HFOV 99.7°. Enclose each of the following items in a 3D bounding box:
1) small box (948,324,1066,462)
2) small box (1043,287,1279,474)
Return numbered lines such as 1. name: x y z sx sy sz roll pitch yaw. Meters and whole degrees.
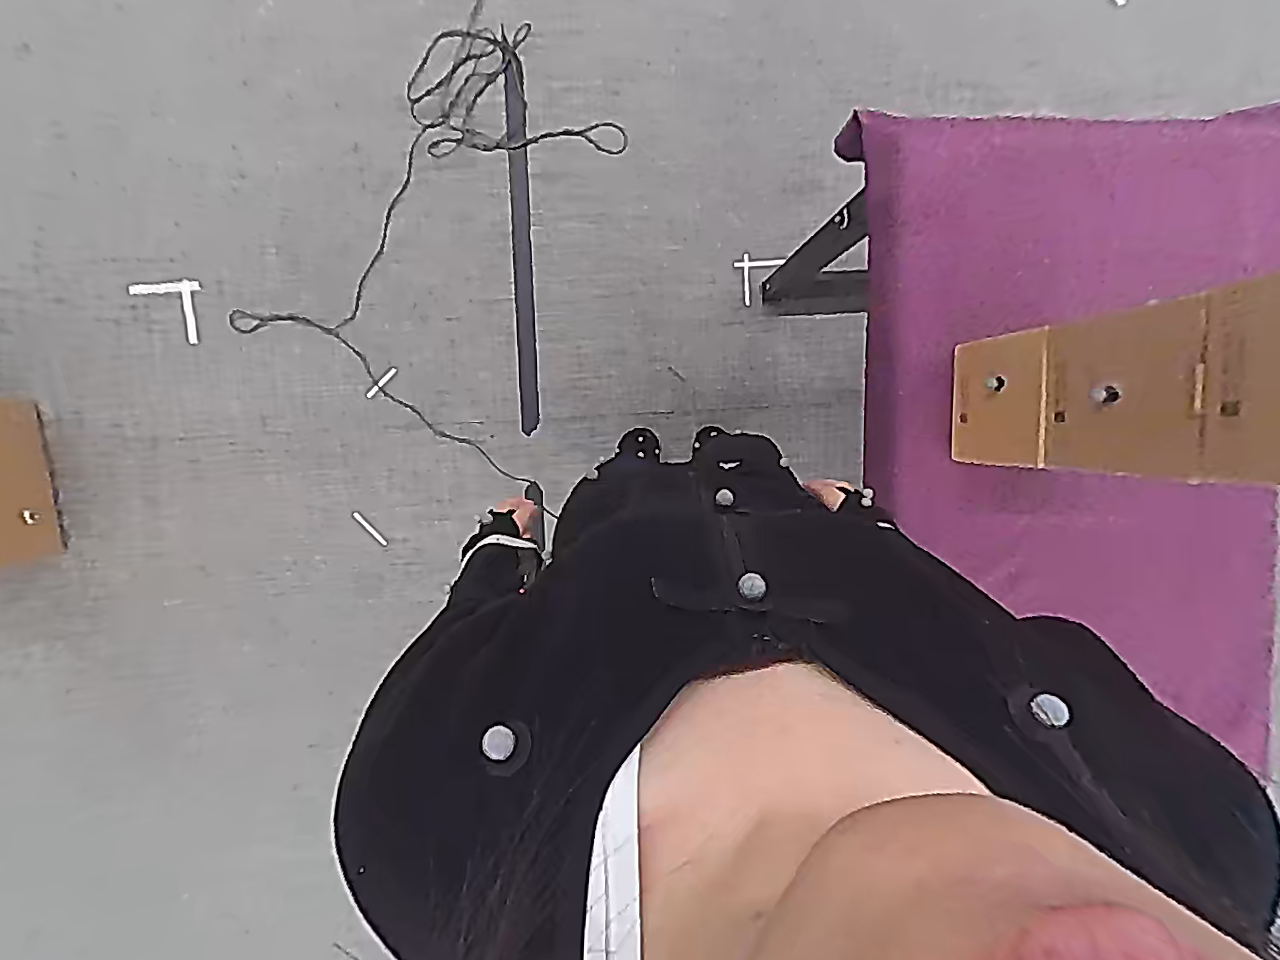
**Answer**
1. small box: 0.544 -0.109 0.725 0.179 0.176 0.168 -2 96 -5
2. small box: 0.563 -0.096 0.563 0.179 0.176 0.168 -4 96 -4
